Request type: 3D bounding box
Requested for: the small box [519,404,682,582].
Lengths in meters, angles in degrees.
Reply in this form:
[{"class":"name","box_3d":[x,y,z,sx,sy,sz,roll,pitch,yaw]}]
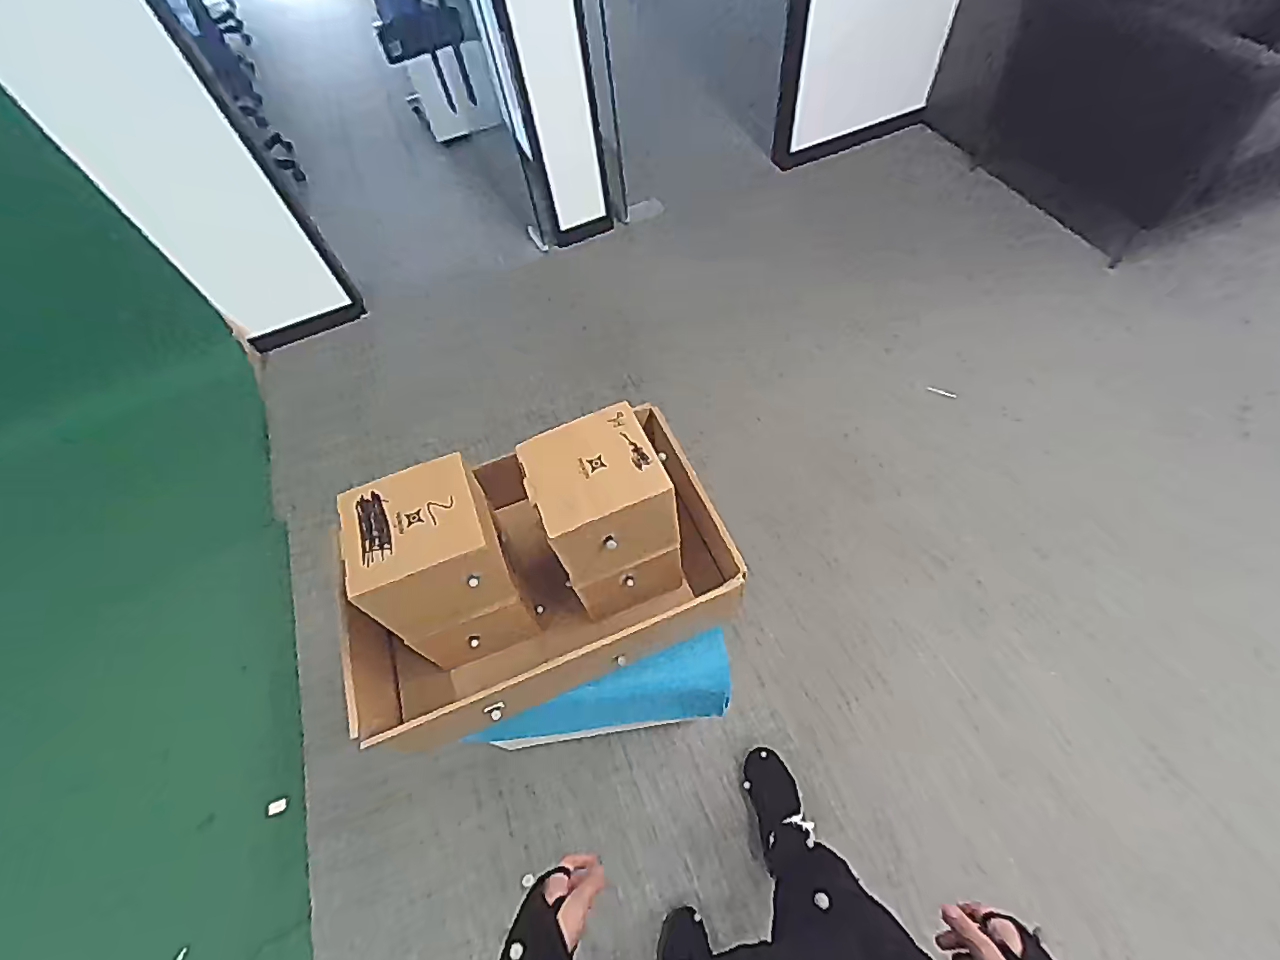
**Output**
[{"class":"small box","box_3d":[-0.052,0.026,0.796,0.179,0.176,0.168,-24,59,-5]}]
